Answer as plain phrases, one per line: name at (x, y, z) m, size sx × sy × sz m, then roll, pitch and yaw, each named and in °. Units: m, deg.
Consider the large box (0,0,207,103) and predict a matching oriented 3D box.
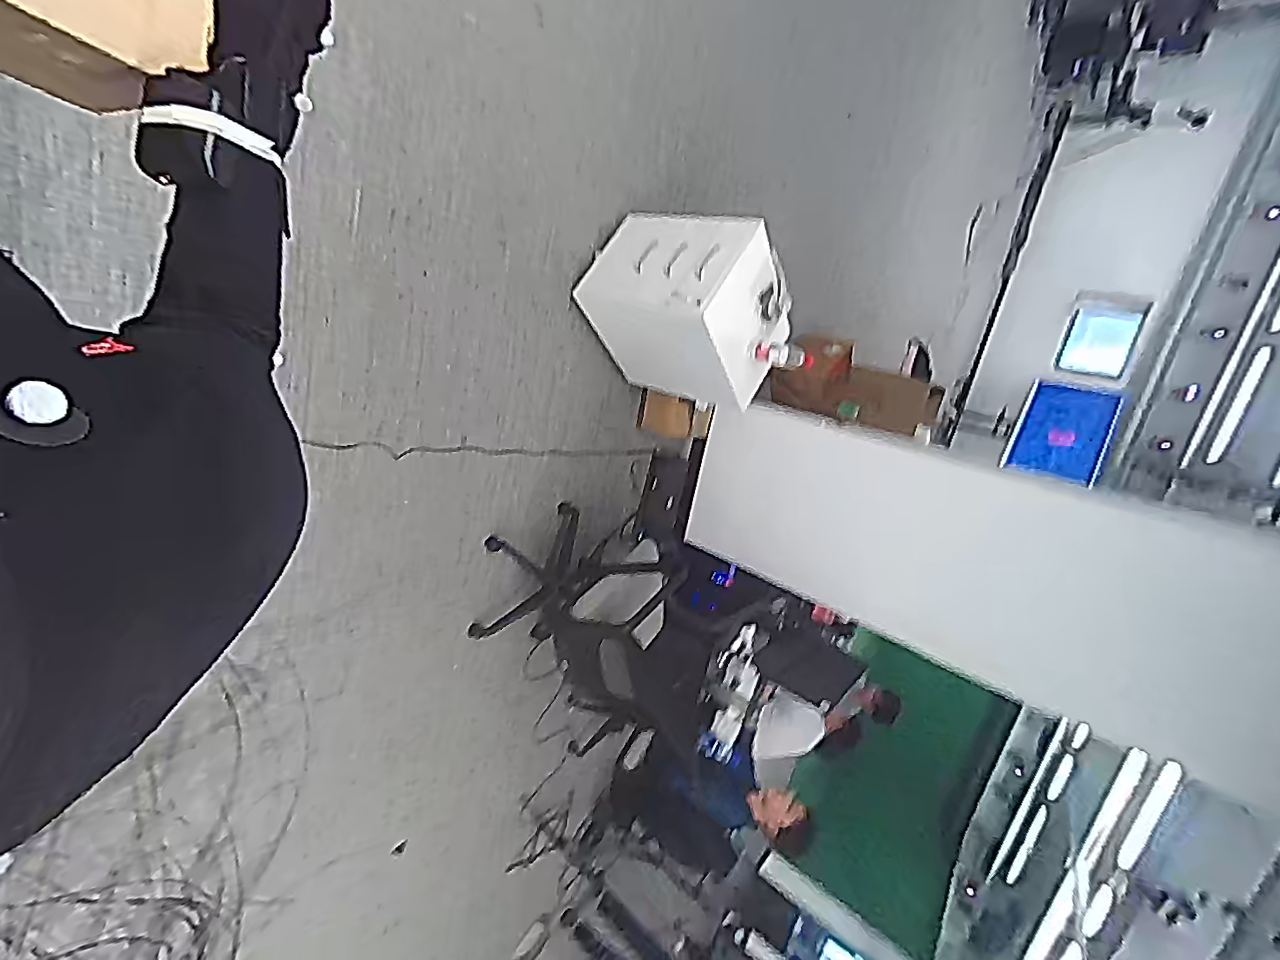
large box at (-0.522, -0.484, 0.294) m, size 0.408 × 0.320 × 0.320 m, roll 2°, pitch 108°, yaw -57°
